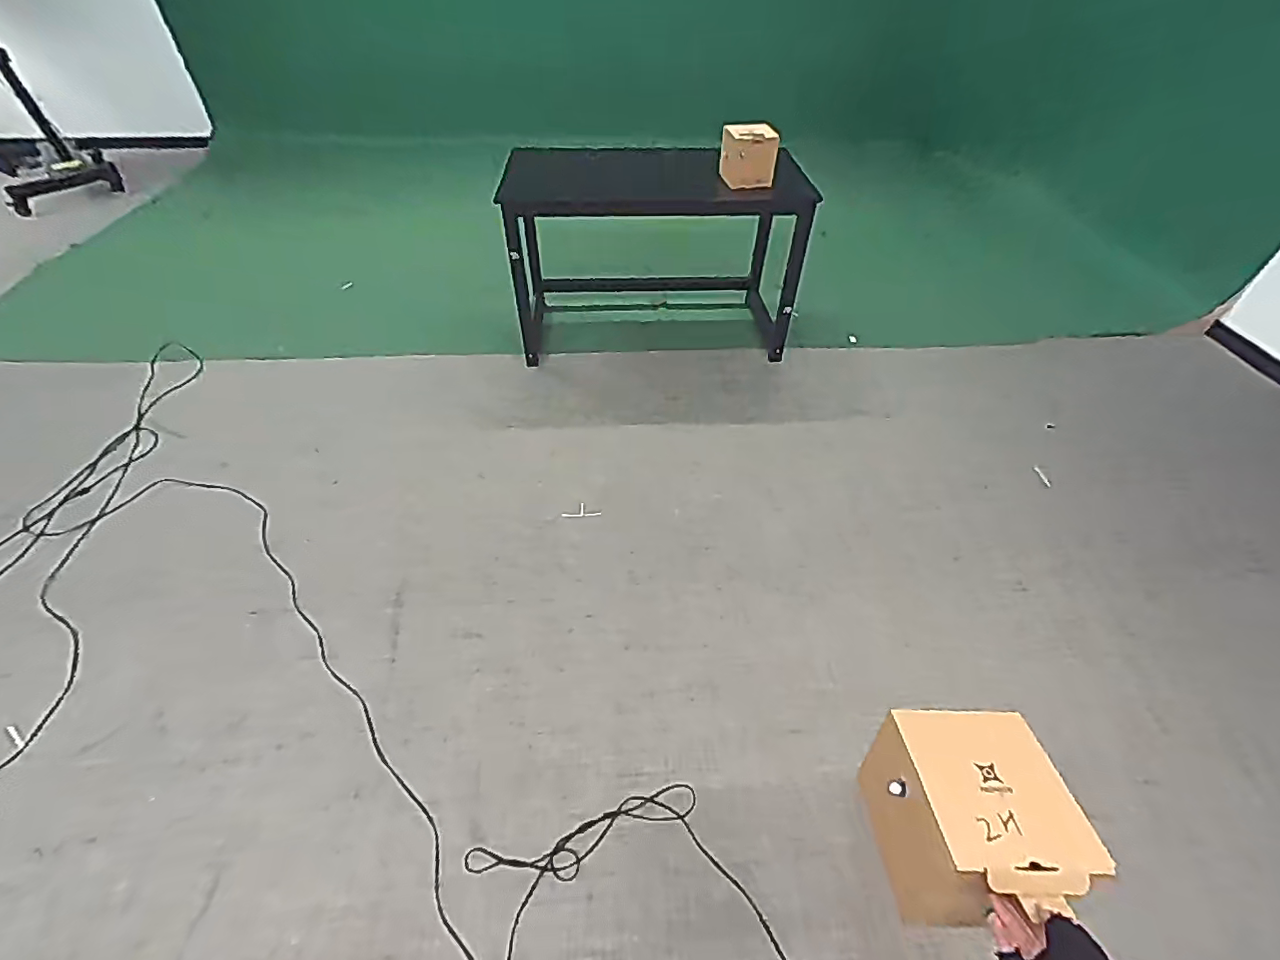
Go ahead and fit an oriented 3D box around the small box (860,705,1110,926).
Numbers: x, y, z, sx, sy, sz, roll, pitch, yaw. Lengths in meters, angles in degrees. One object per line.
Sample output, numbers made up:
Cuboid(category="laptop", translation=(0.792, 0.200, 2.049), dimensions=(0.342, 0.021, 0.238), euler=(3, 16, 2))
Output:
Cuboid(category="small box", translation=(0.388, 0.401, 0.654), dimensions=(0.168, 0.176, 0.179), euler=(1, 35, -1))
